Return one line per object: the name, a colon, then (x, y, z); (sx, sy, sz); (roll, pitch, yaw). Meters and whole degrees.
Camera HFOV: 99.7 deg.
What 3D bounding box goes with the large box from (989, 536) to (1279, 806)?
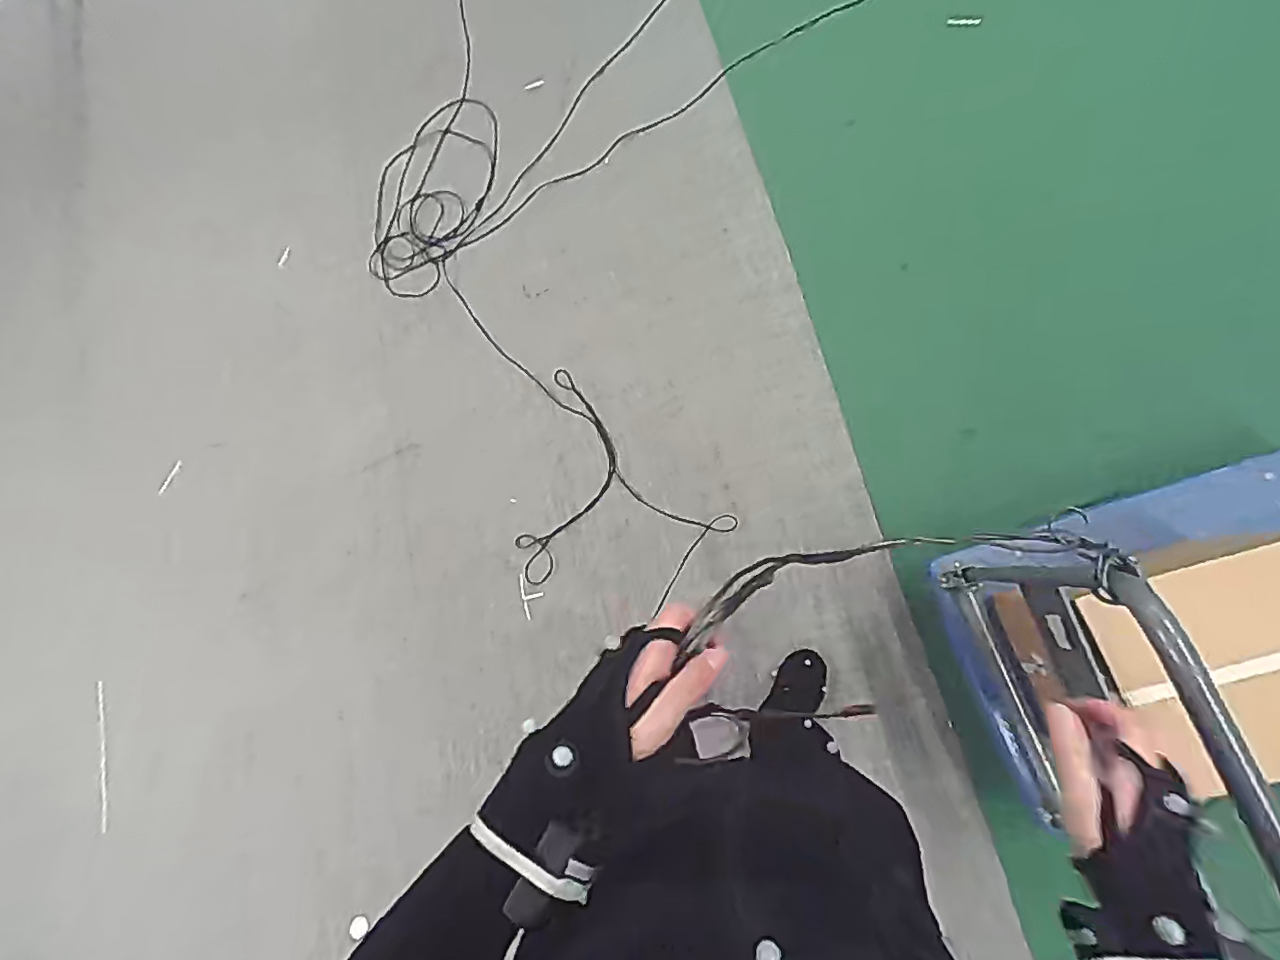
large box: (0.944, 0.312, 0.959); (0.408, 0.320, 0.320); (-18, 76, 7)
